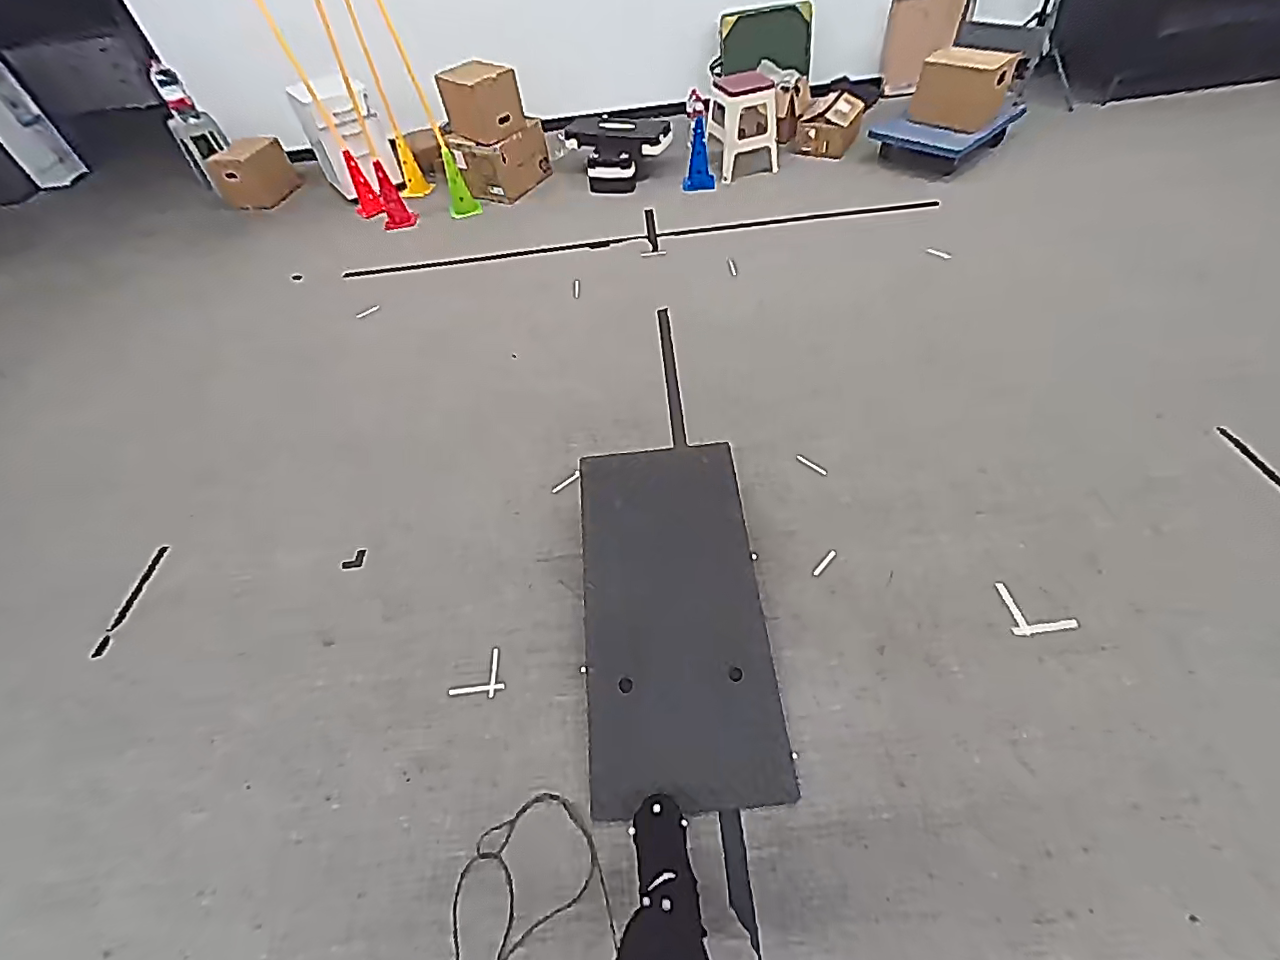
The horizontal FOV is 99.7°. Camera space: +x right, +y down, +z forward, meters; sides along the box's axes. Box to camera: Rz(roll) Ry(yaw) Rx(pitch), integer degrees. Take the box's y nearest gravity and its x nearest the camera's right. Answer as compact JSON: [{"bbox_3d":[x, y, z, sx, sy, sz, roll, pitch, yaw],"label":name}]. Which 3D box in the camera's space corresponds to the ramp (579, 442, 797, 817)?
[{"bbox_3d":[0.089,0.337,1.513,0.509,0.206,0.991,-7,50,-1],"label":"ramp"}]
